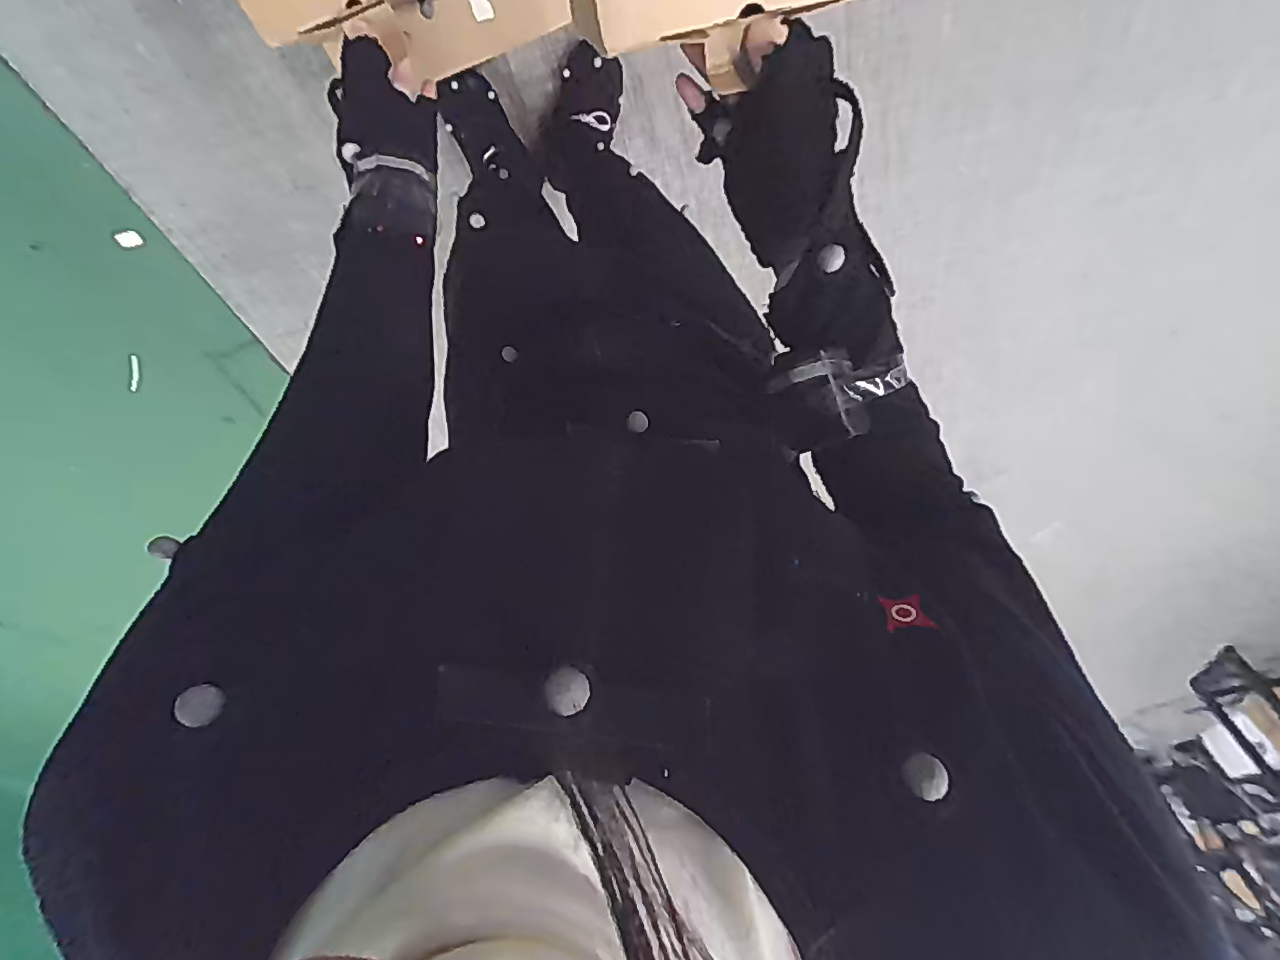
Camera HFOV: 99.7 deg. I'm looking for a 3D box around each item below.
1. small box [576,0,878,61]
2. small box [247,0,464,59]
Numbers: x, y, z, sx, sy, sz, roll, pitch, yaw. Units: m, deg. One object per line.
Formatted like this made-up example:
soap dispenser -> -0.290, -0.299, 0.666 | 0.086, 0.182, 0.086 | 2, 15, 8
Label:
small box -> 0.032, -0.365, 0.295 | 0.168, 0.176, 0.179 | -14, 135, -1
small box -> -0.247, -0.482, 0.440 | 0.168, 0.176, 0.179 | -16, 129, 9
